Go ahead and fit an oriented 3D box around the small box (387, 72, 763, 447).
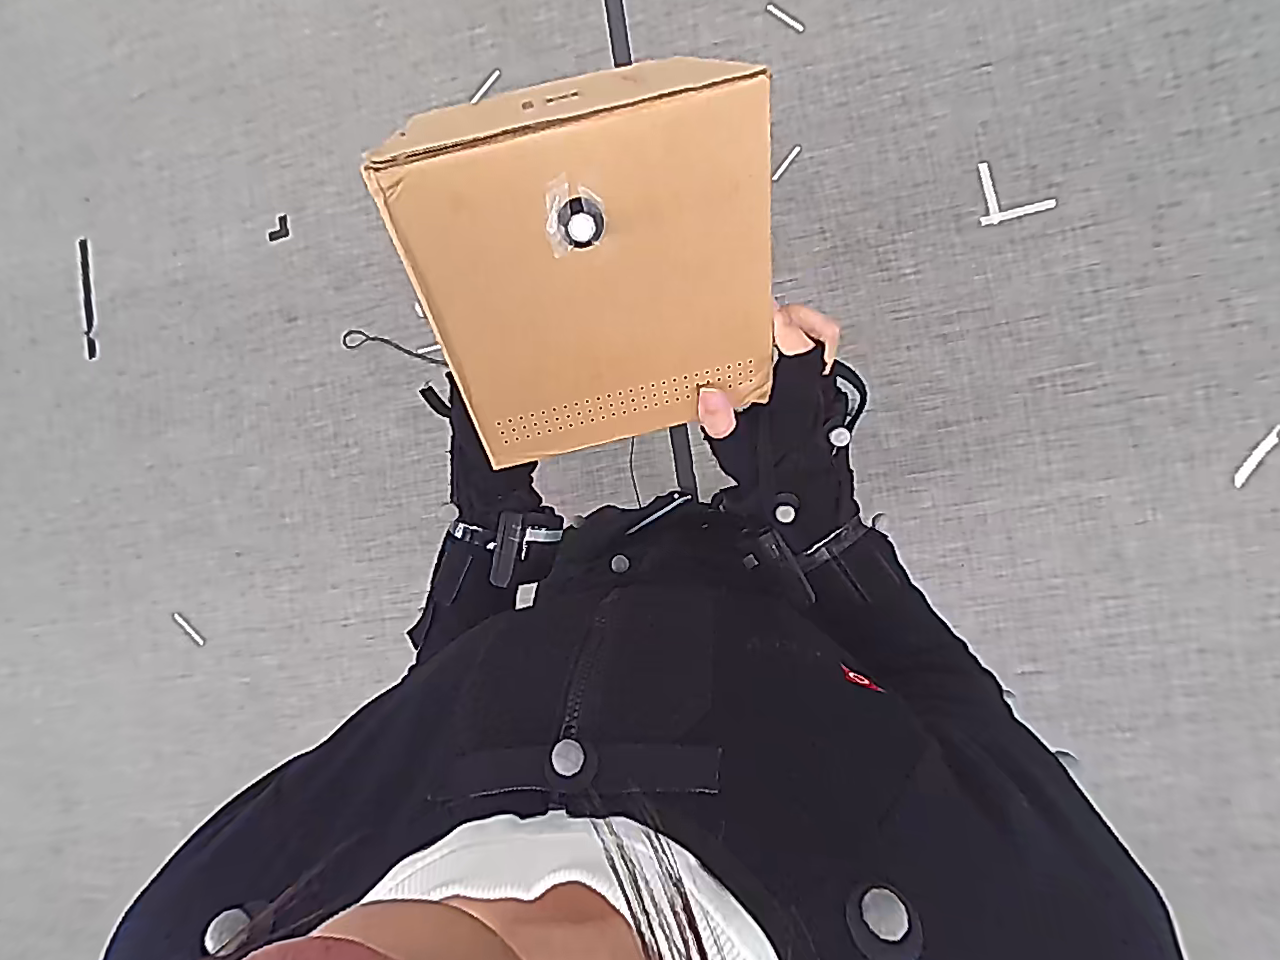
[{"bbox_3d":[-0.028,-0.143,0.352,0.179,0.168,0.176,-14,131,-2],"label":"small box"}]
